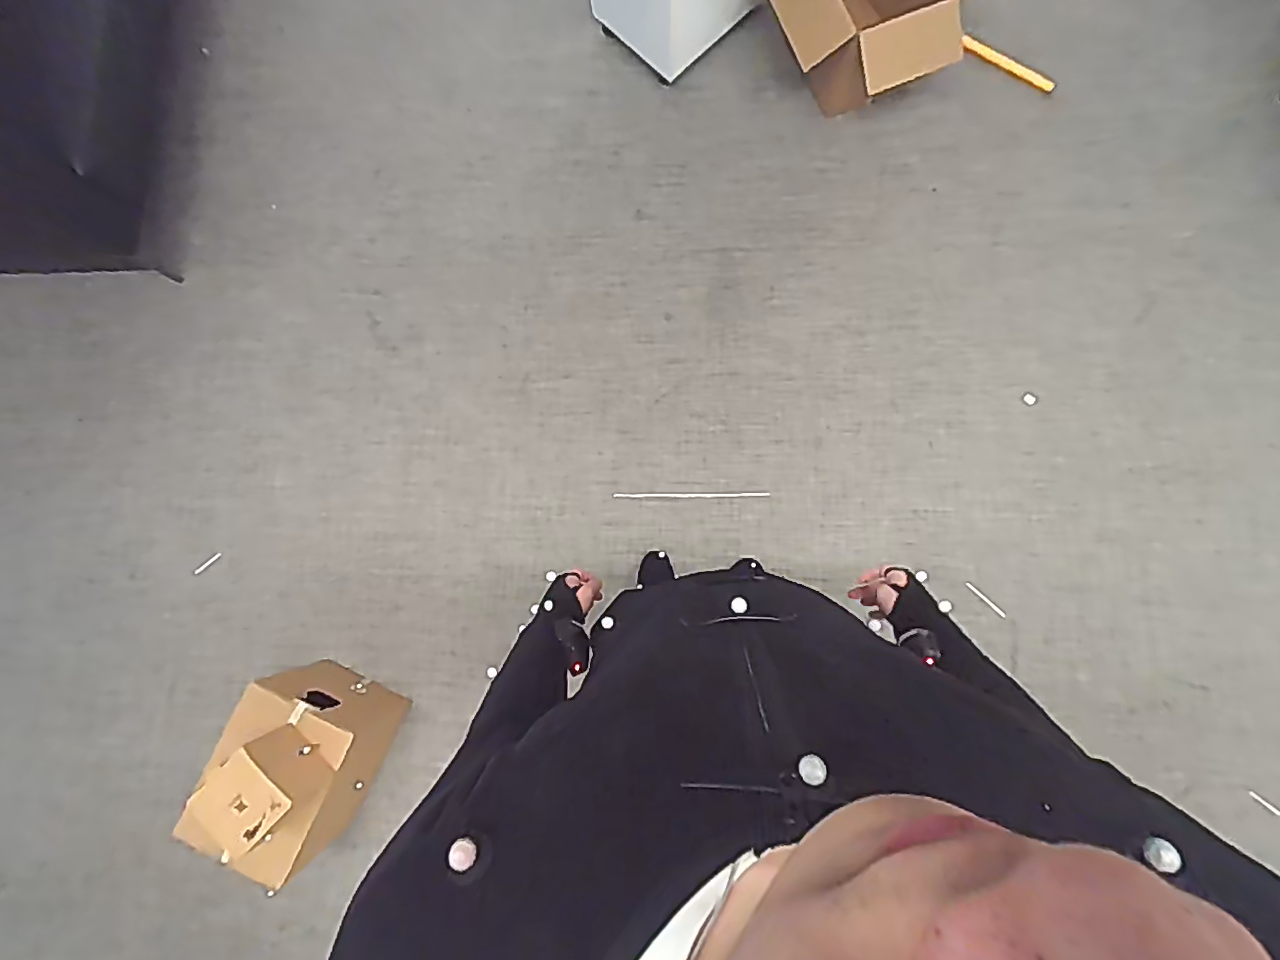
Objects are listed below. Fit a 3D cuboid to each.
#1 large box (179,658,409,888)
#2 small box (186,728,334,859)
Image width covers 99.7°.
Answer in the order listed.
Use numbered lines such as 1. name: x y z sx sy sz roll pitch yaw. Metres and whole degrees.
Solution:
1. large box: -0.909 0.760 1.476 0.320 0.320 0.408 23 85 6
2. small box: -0.855 0.697 1.233 0.179 0.176 0.168 44 86 7
